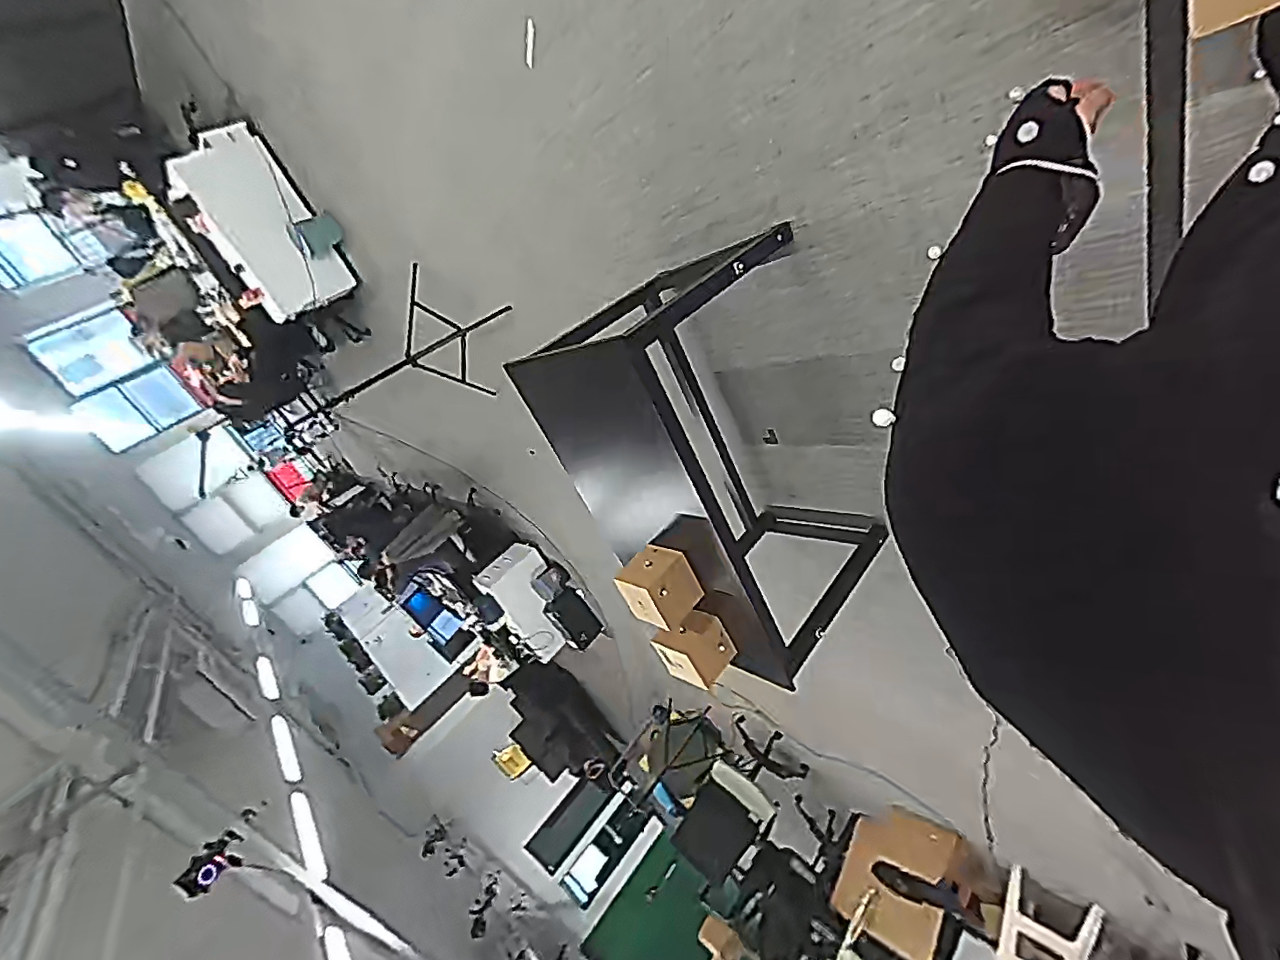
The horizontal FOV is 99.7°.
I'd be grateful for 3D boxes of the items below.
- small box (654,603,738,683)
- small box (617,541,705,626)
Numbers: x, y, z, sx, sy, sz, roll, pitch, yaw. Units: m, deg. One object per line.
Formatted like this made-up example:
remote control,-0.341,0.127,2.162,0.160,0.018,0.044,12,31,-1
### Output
small box,0.186,0.523,1.769,0.179,0.176,0.168,3,129,52
small box,0.068,0.309,1.661,0.168,0.176,0.179,6,131,52
